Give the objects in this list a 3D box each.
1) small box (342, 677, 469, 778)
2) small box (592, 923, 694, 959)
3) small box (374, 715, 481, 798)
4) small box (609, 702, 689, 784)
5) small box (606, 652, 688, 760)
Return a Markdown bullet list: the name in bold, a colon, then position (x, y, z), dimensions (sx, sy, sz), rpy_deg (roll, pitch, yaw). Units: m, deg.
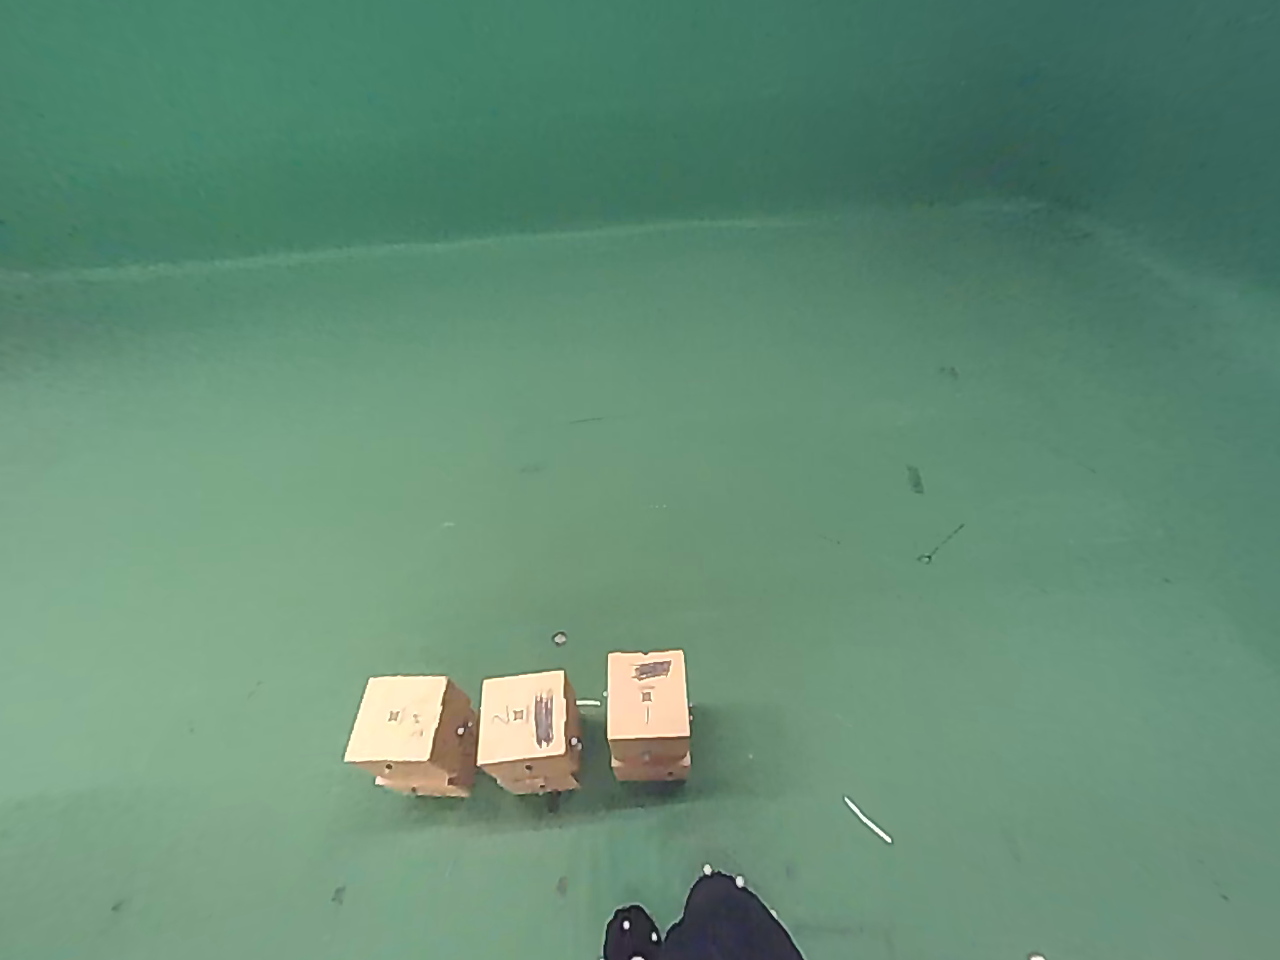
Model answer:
- **small box**: position (-0.493, 0.535, 1.165), dimensions (0.179, 0.176, 0.168), rpy_deg (-1, 51, 3)
- **small box**: position (-0.001, 0.976, 1.011), dimensions (0.179, 0.176, 0.168), rpy_deg (8, 65, 33)
- **small box**: position (-0.493, 0.647, 1.287), dimensions (0.168, 0.176, 0.179), rpy_deg (0, 51, 4)
- **small box**: position (0.023, 0.613, 1.284), dimensions (0.179, 0.176, 0.168), rpy_deg (-2, 51, 3)
- **small box**: position (0.014, 0.491, 1.172), dimensions (0.168, 0.176, 0.179), rpy_deg (-2, 51, 1)
